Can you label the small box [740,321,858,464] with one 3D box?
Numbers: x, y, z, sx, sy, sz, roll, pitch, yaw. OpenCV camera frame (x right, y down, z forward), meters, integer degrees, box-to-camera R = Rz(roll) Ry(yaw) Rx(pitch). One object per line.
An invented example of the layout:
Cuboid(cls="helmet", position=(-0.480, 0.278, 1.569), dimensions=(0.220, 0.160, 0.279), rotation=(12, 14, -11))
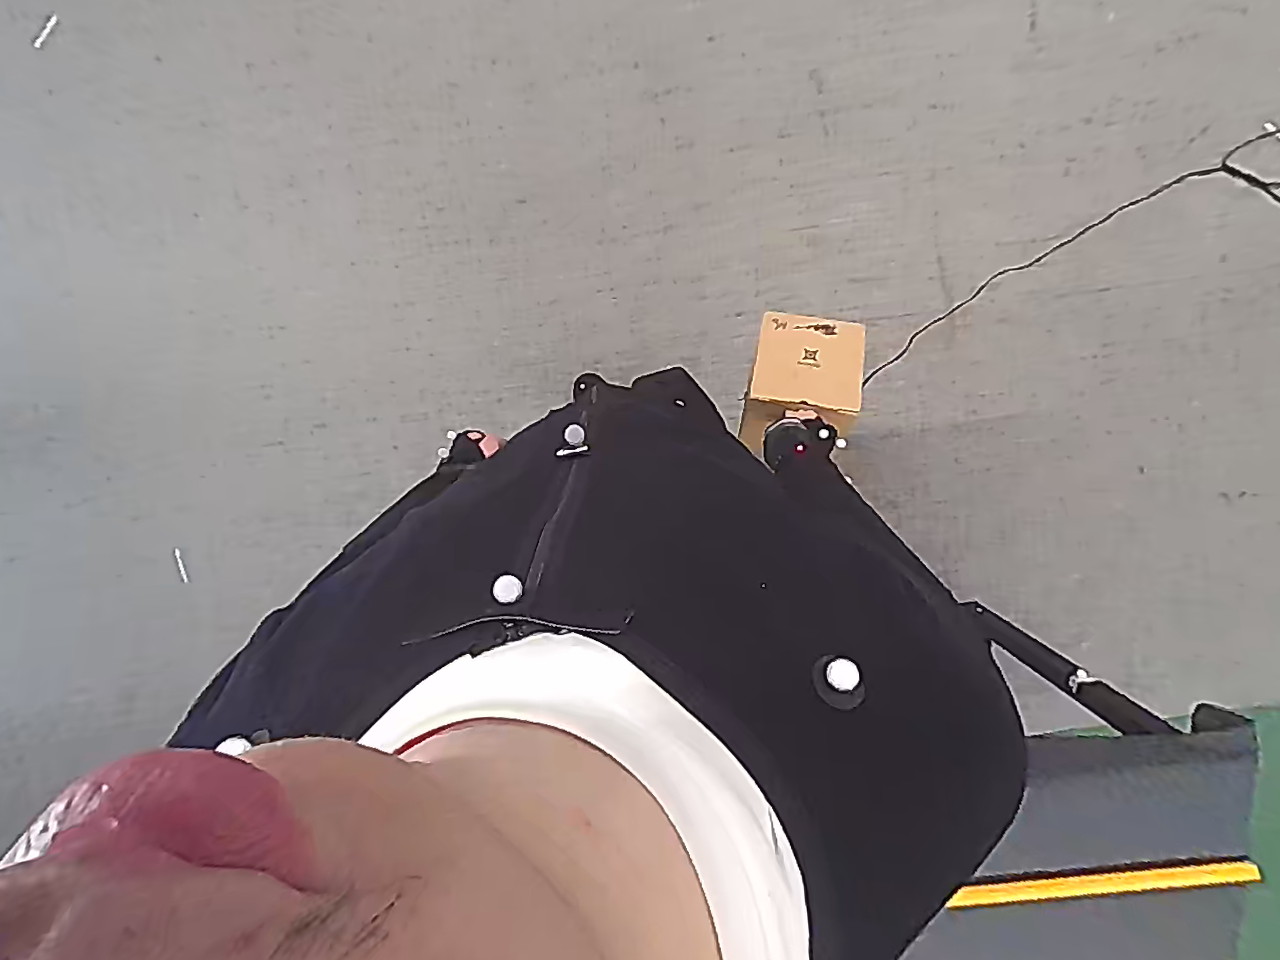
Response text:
Cuboid(cls="small box", position=(0.265, -0.144, 0.925), dimensions=(0.168, 0.176, 0.179), rotation=(7, 65, 8))
